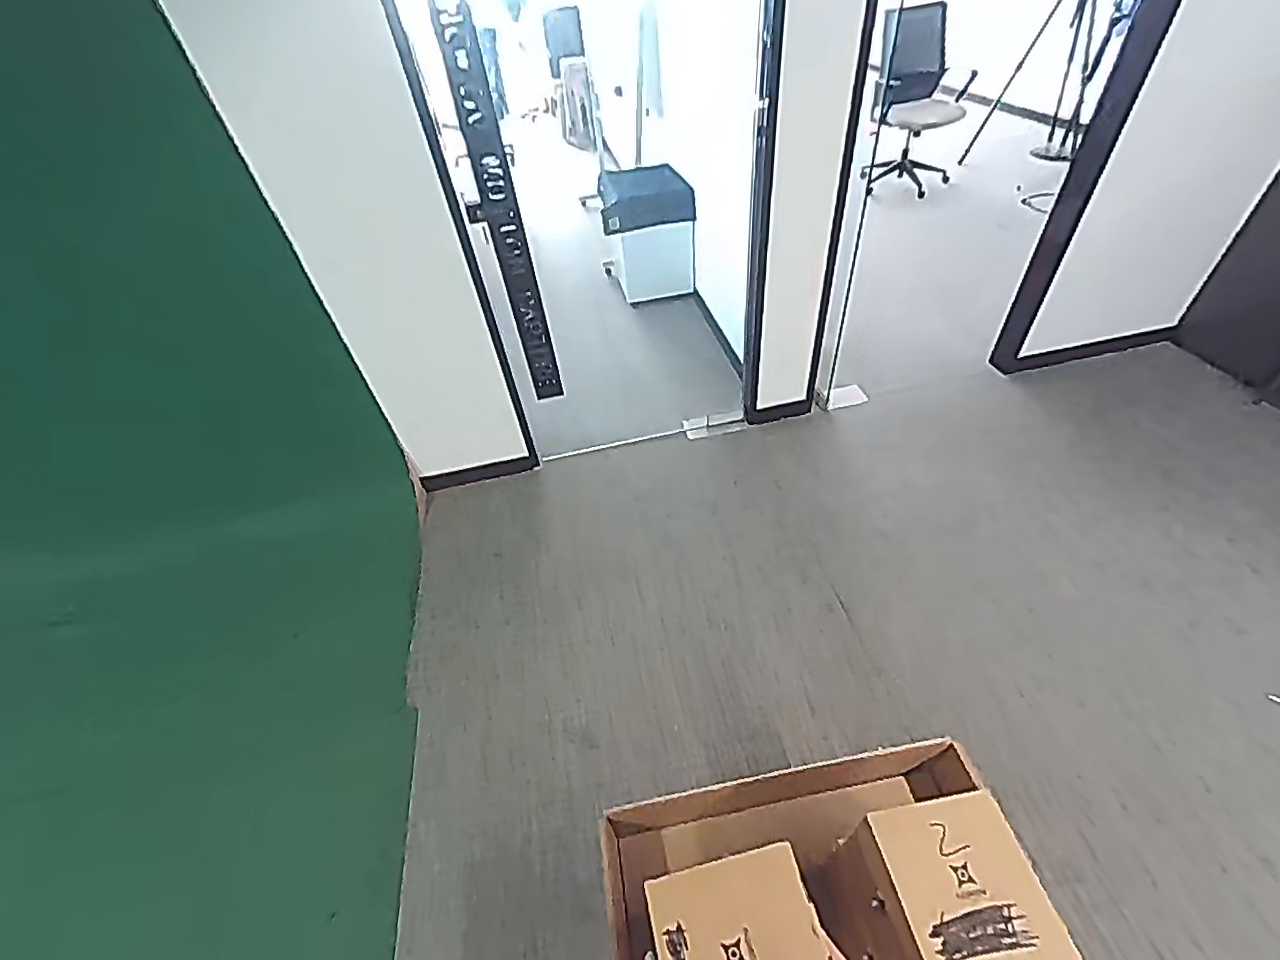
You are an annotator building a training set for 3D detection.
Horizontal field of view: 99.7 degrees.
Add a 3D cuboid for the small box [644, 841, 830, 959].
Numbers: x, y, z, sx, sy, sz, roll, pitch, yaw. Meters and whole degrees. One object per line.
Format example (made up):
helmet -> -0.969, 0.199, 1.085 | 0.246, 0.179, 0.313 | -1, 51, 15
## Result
small box -> 0.107, 0.541, 0.618 | 0.179, 0.176, 0.168 | -11, 47, -6
